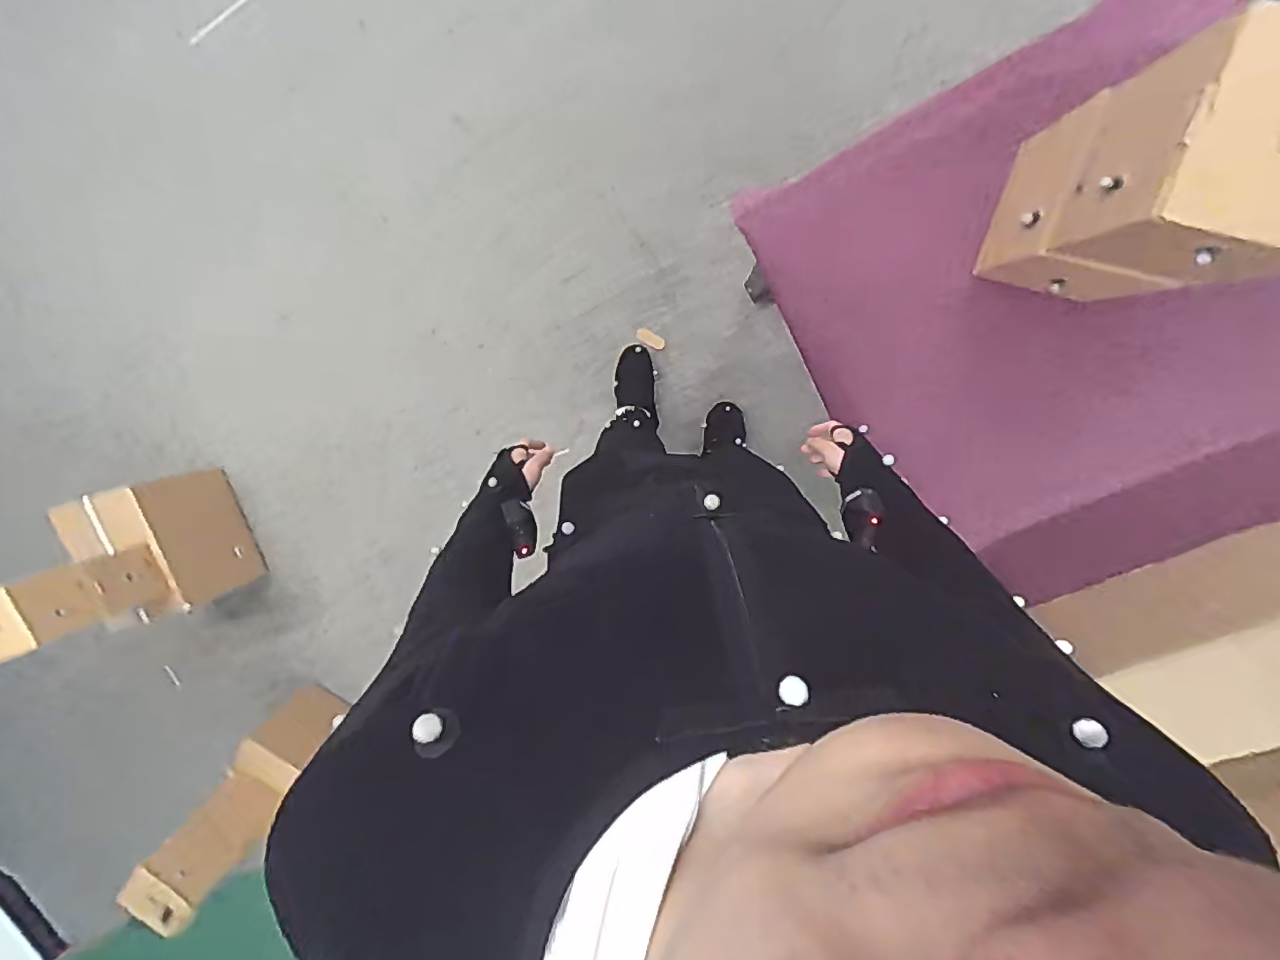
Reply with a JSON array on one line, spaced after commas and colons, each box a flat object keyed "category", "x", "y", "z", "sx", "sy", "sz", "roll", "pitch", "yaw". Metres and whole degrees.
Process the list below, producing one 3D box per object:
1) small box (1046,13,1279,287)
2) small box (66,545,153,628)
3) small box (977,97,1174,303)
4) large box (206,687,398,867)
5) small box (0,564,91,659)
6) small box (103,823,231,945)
[{"category": "small box", "x": 0.556, "y": -0.297, "z": 0.528, "sx": 0.179, "sy": 0.176, "sz": 0.168, "roll": 16, "pitch": 105, "yaw": 3}, {"category": "small box", "x": -1.507, "y": 0.296, "z": 1.493, "sx": 0.179, "sy": 0.176, "sz": 0.168, "roll": -18, "pitch": 99, "yaw": 9}, {"category": "small box", "x": 0.568, "y": -0.335, "z": 0.686, "sx": 0.168, "sy": 0.176, "sz": 0.179, "roll": 16, "pitch": 104, "yaw": 2}, {"category": "large box", "x": -1.139, "y": 0.998, "z": 1.854, "sx": 0.408, "sy": 0.320, "sz": 0.320, "roll": 32, "pitch": 105, "yaw": -2}, {"category": "small box", "x": -1.525, "y": 0.327, "z": 1.334, "sx": 0.179, "sy": 0.176, "sz": 0.168, "roll": -19, "pitch": 100, "yaw": 10}, {"category": "small box", "x": -1.271, "y": 1.085, "z": 1.466, "sx": 0.179, "sy": 0.176, "sz": 0.168, "roll": 39, "pitch": 104, "yaw": -2}]
